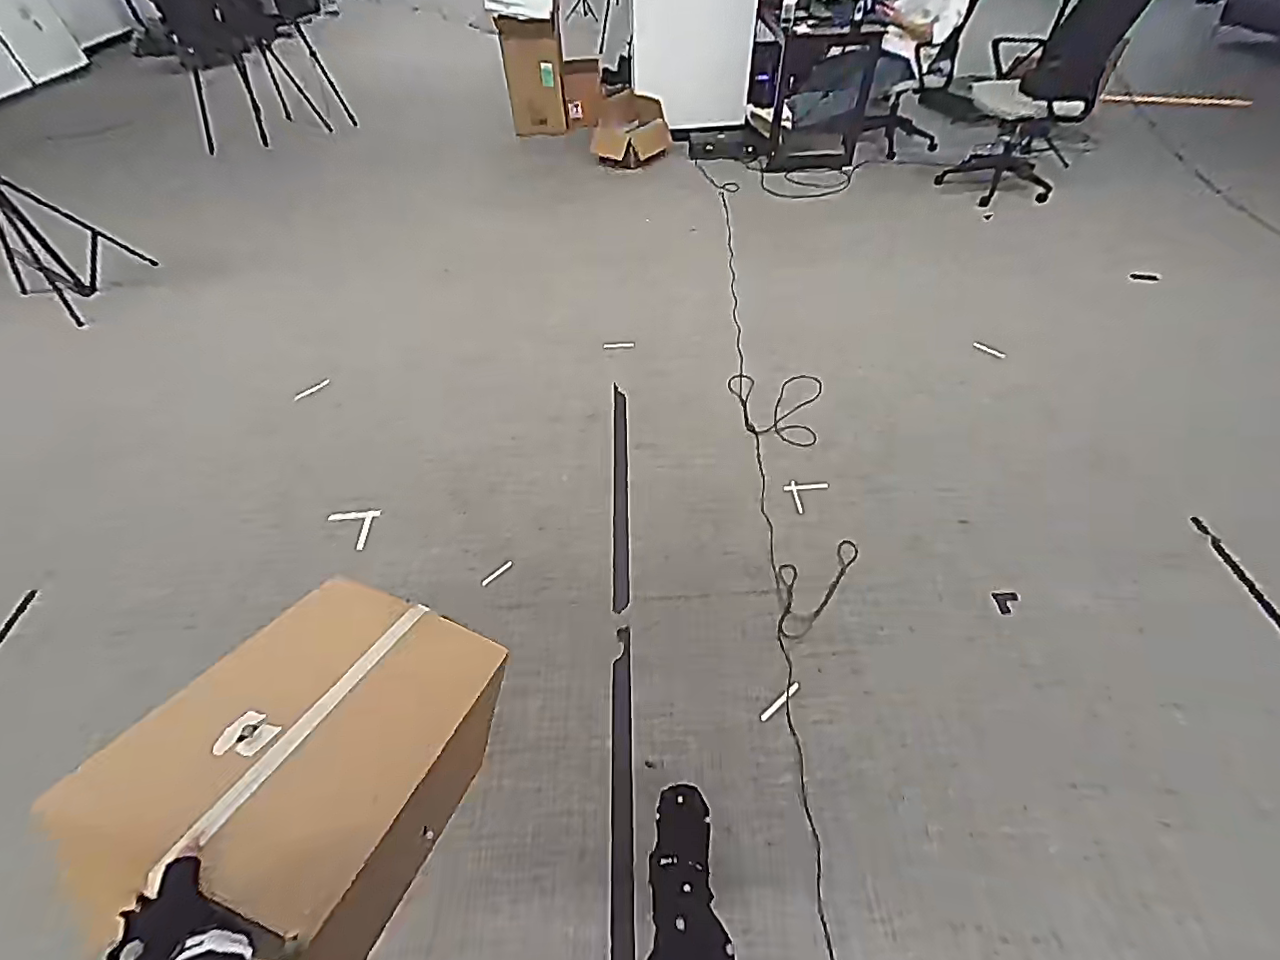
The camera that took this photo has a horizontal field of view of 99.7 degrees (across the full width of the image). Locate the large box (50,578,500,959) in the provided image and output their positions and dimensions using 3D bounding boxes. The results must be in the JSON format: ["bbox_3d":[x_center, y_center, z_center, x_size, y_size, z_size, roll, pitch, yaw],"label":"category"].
[{"bbox_3d":[-0.449,0.421,0.771,0.320,0.320,0.408,22,29,5],"label":"large box"}]
